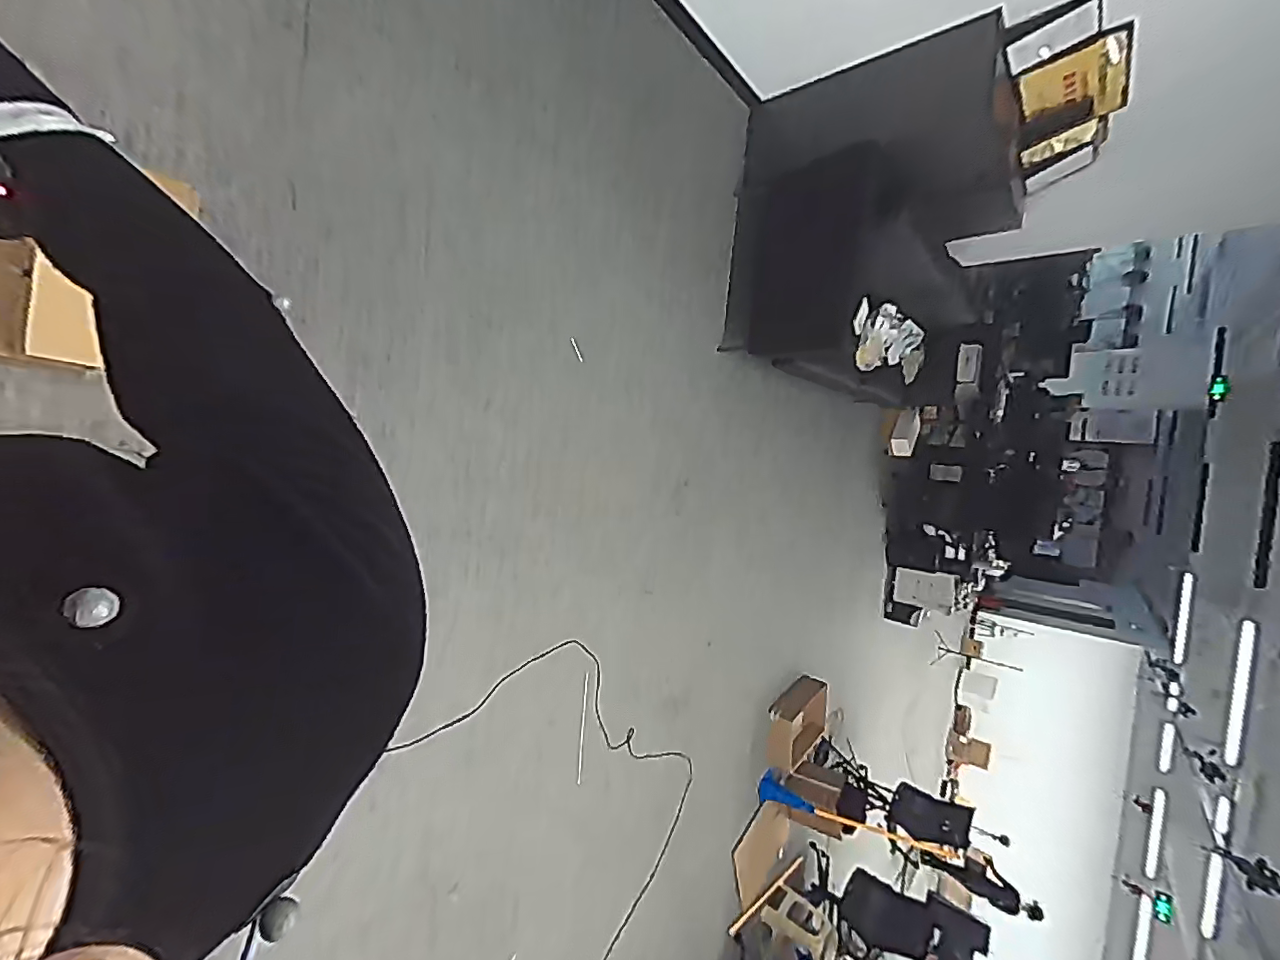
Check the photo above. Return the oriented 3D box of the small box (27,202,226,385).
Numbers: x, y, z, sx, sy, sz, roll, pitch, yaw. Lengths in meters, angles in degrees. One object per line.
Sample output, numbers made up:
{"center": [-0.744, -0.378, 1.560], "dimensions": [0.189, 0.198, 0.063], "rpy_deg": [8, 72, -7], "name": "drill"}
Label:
{"center": [-0.681, -0.228, 0.717], "dimensions": [0.168, 0.176, 0.179], "rpy_deg": [6, 90, -51], "name": "small box"}
